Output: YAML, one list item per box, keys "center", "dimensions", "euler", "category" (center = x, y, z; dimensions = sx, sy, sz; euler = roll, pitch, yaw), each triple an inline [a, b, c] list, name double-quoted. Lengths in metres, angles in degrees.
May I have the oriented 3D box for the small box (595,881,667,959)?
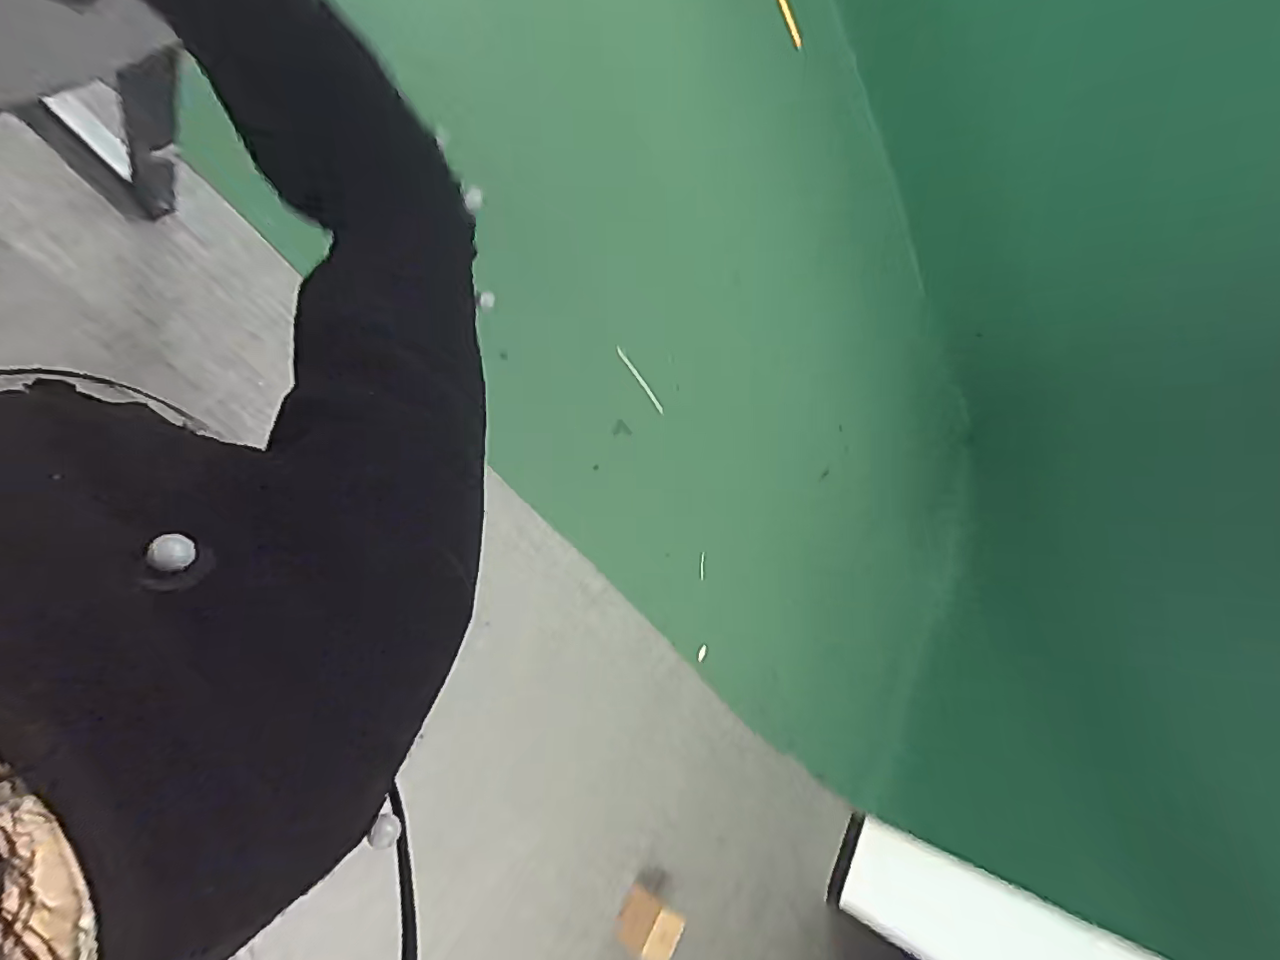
- center: [-0.037, 1.652, 2.025]
  dimensions: [0.179, 0.176, 0.168]
  euler: [52, 59, -30]
  category: "small box"
